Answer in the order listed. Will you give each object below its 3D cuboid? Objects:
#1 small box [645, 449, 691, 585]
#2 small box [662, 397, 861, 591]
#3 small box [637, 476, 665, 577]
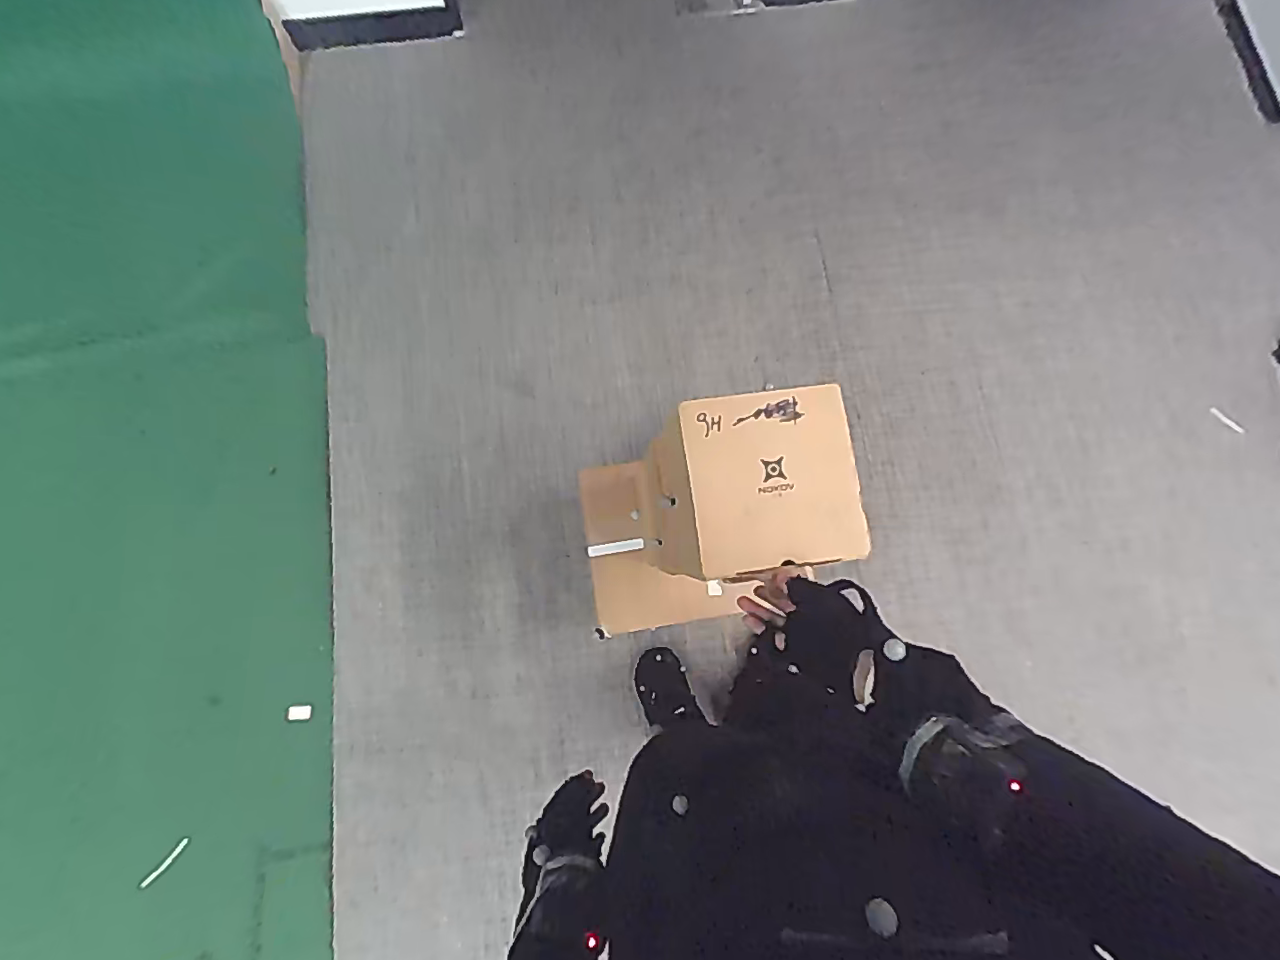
[{"bbox_3d":[0.103,0.045,0.769,0.168,0.176,0.179,-9,82,-5],"label":"small box"},{"bbox_3d":[0.121,0.020,0.608,0.168,0.176,0.179,-8,84,-4],"label":"small box"},{"bbox_3d":[0.095,0.067,0.929,0.179,0.176,0.168,-9,84,-4],"label":"small box"}]
